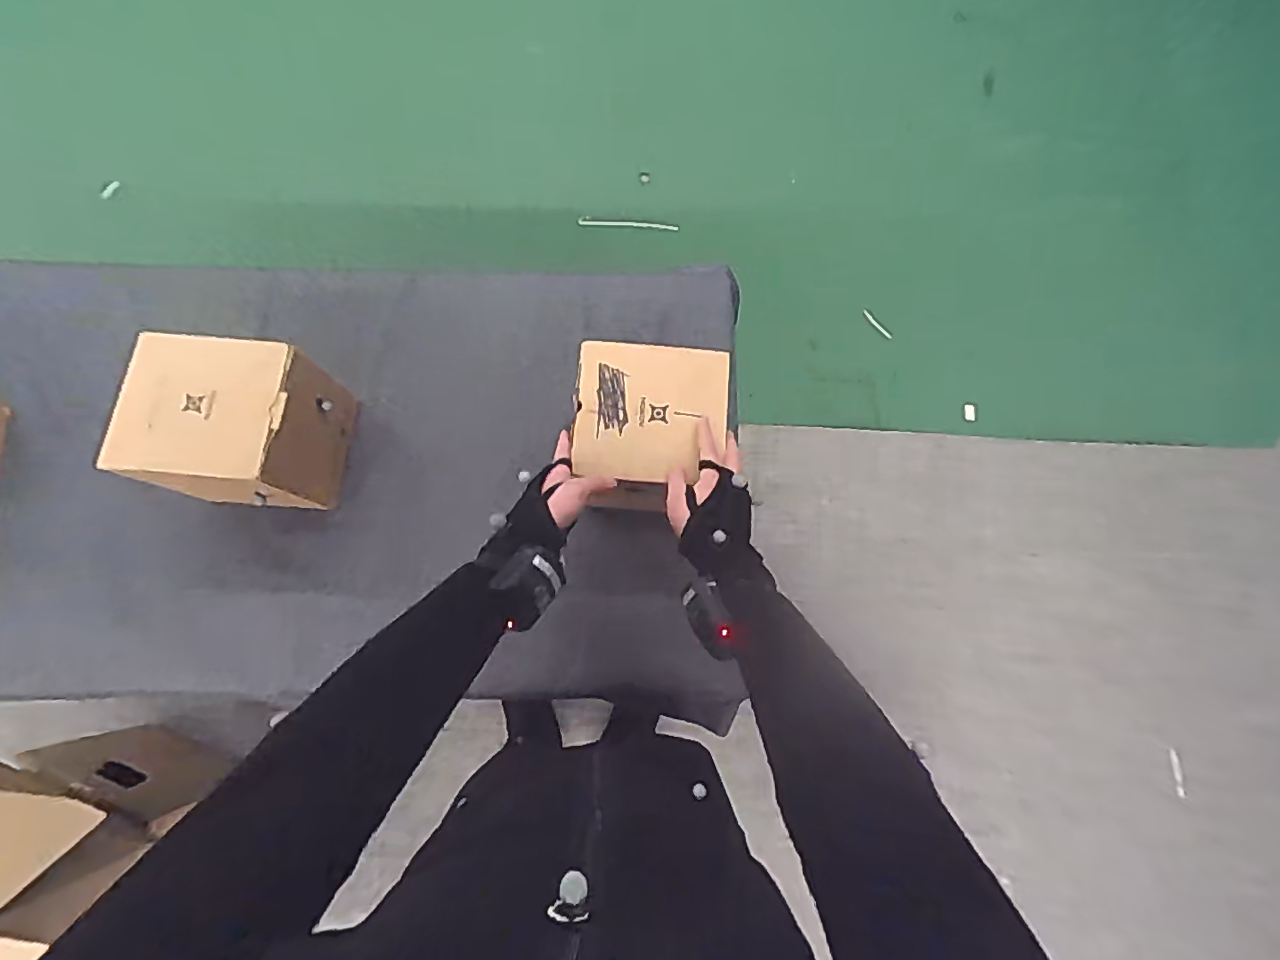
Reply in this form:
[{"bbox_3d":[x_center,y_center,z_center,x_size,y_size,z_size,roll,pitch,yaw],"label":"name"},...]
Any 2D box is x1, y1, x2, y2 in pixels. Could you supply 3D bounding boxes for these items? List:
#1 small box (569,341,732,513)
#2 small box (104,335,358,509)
[{"bbox_3d":[0.013,-0.057,0.687,0.179,0.176,0.168,5,76,-1],"label":"small box"},{"bbox_3d":[-0.489,-0.062,0.680,0.179,0.176,0.168,3,74,1],"label":"small box"}]
